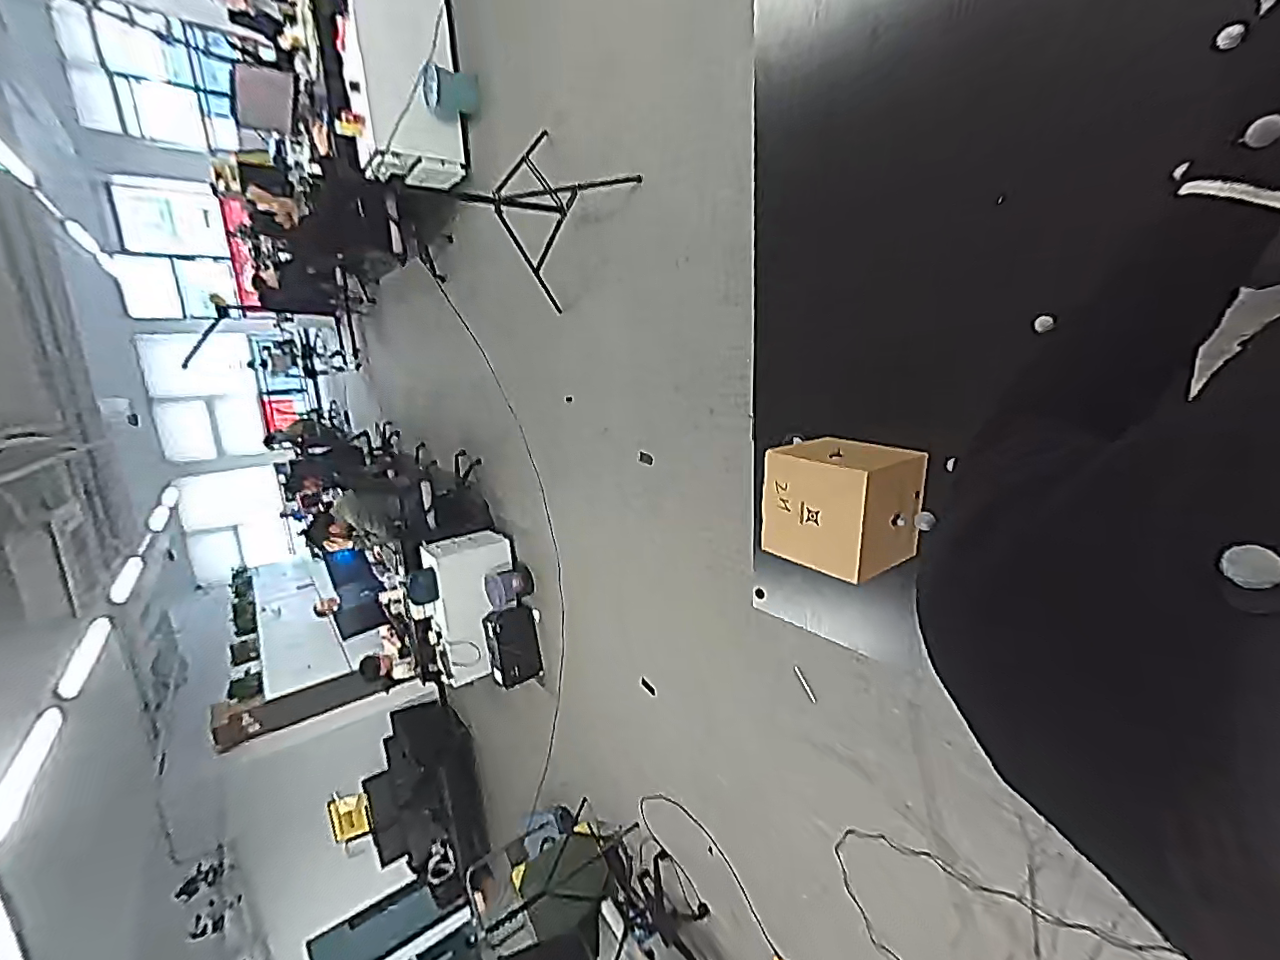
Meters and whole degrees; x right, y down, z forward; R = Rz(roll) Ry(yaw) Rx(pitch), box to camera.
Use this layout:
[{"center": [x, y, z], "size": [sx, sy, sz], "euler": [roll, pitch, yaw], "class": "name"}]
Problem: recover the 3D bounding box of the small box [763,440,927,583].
[{"center": [0.316, 0.035, 0.840], "size": [0.179, 0.176, 0.168], "euler": [19, 114, 52], "class": "small box"}]
